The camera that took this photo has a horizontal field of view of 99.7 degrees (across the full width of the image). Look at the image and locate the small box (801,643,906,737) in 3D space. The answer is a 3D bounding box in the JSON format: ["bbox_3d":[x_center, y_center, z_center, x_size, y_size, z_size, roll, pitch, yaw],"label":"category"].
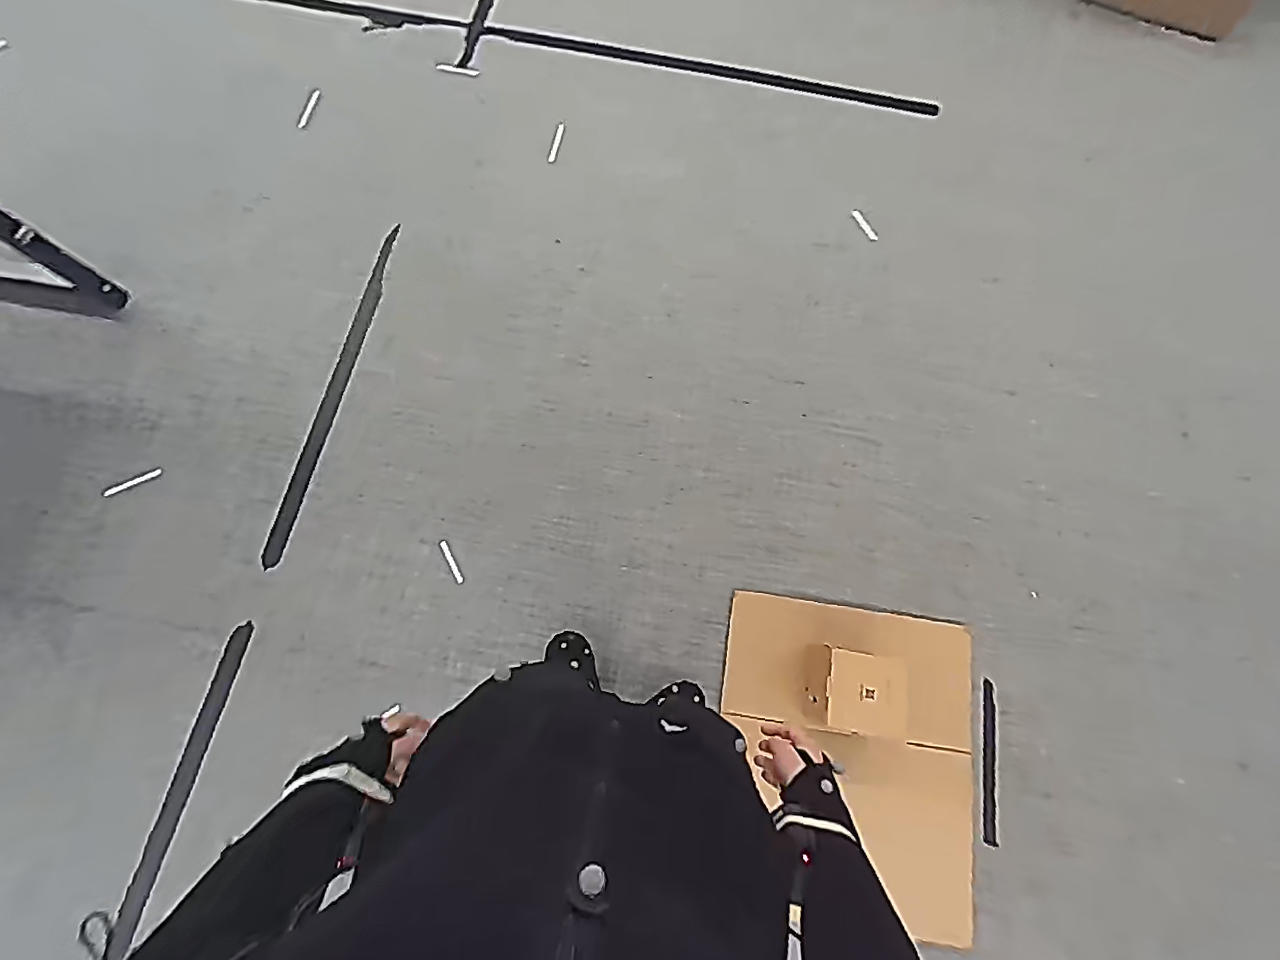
[{"bbox_3d":[0.485,0.474,1.247,0.179,0.176,0.168,10,76,0],"label":"small box"}]
